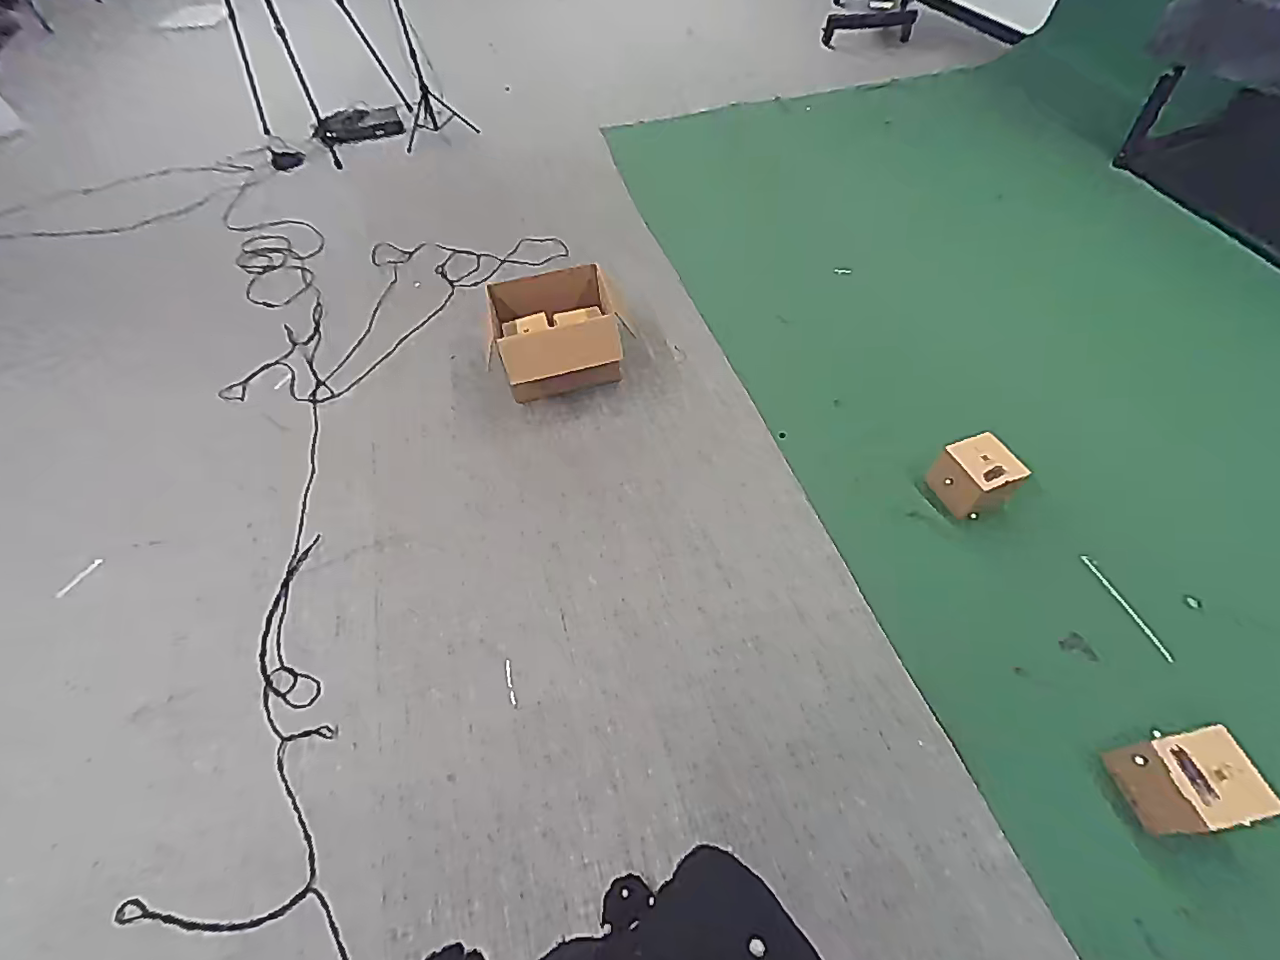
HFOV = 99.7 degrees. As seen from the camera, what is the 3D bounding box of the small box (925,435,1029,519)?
[{"bbox_3d":[1.005,-0.001,1.629,0.168,0.176,0.179,-17,55,-10],"label":"small box"}]
